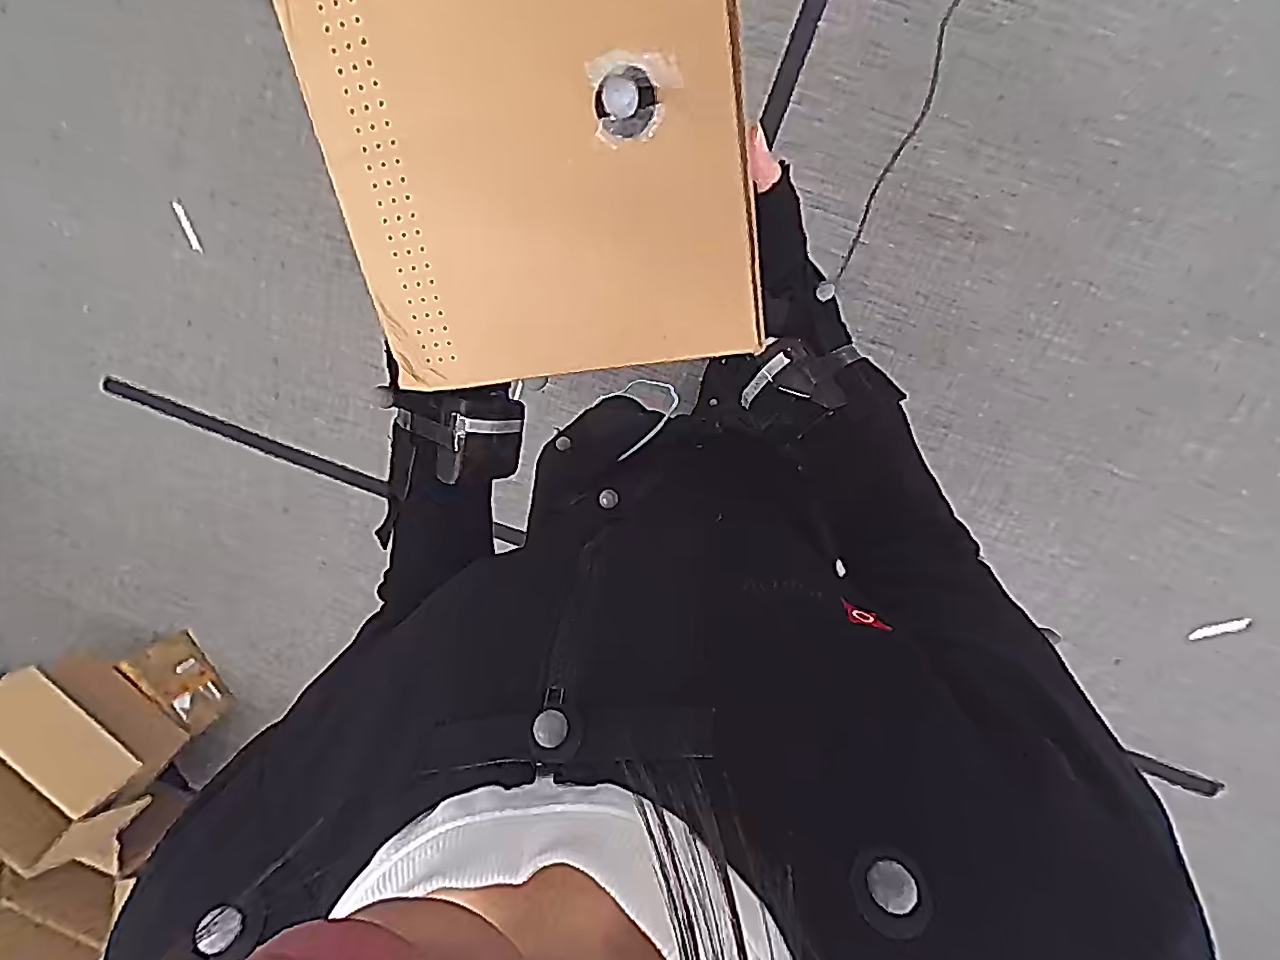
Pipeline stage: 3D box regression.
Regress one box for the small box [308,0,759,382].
[{"bbox_3d":[-0.031,-0.161,0.285,0.176,0.168,0.179,-4,112,14],"label":"small box"}]
